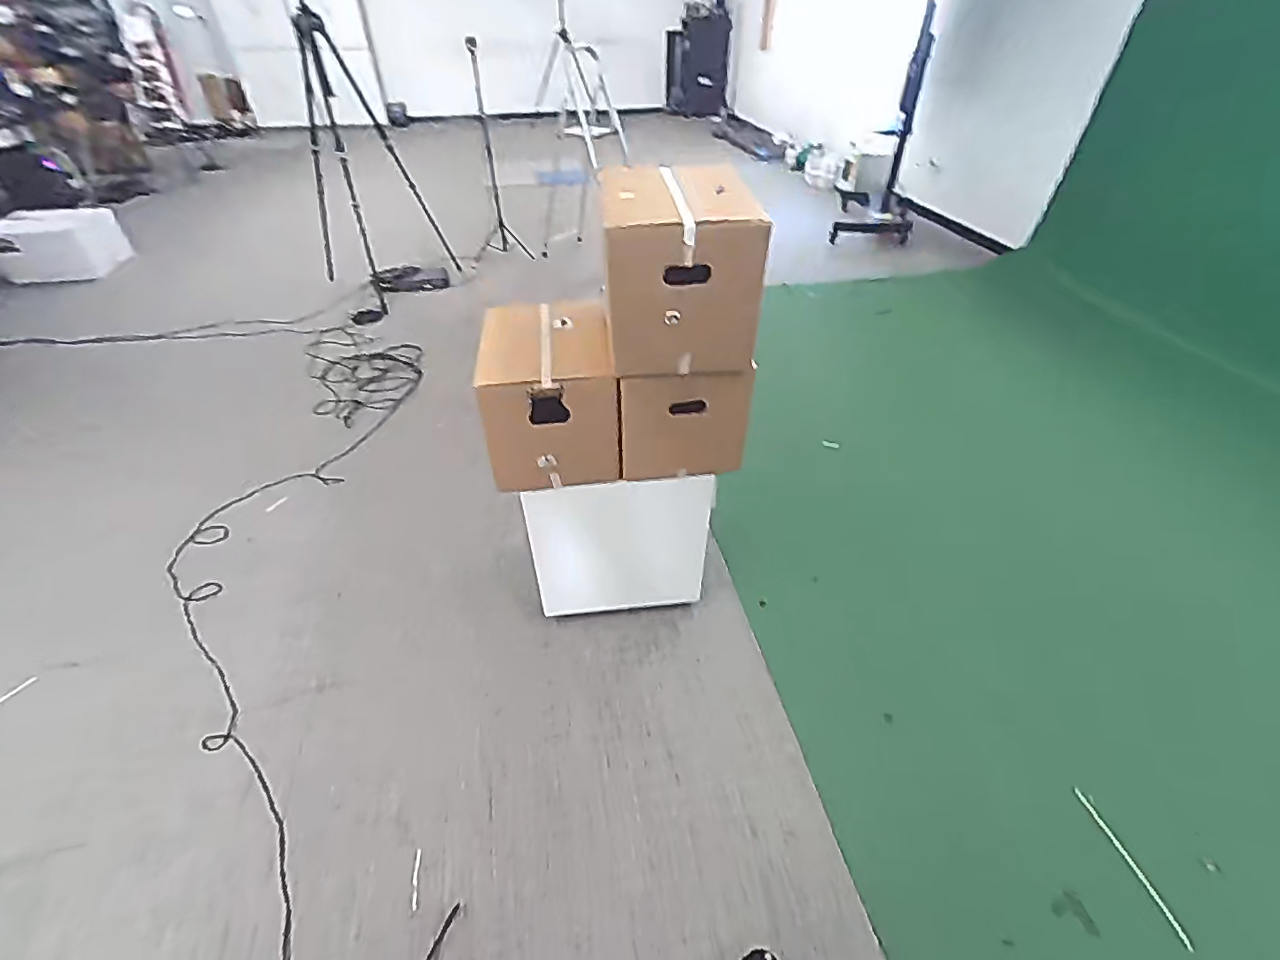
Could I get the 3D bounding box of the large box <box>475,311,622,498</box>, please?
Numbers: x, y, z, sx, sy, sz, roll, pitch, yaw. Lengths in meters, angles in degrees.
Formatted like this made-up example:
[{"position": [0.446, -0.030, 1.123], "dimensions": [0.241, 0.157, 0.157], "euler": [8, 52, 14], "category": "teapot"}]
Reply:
[{"position": [-0.228, -0.207, 1.415], "dimensions": [0.320, 0.320, 0.408], "euler": [-5, 41, -6], "category": "large box"}]
